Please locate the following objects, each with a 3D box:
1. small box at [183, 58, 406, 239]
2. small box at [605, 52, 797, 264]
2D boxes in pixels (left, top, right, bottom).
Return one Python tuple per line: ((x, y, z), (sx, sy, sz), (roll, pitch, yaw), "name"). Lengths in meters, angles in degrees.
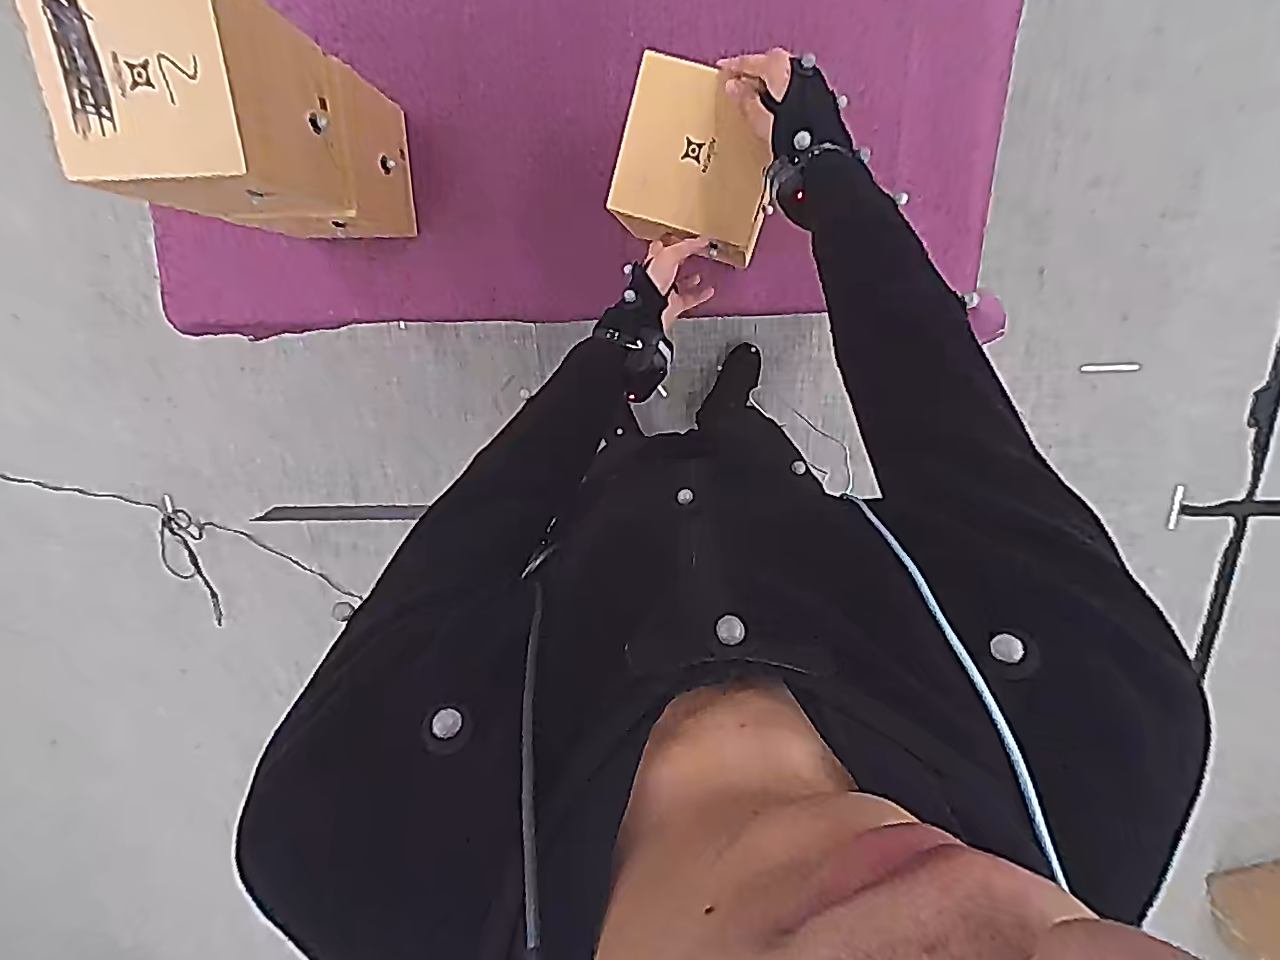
((-0.422, -0.414, 0.700), (0.179, 0.176, 0.168), (1, 106, 2), "small box")
((0.075, -0.384, 0.679), (0.179, 0.176, 0.168), (18, 106, 3), "small box")
